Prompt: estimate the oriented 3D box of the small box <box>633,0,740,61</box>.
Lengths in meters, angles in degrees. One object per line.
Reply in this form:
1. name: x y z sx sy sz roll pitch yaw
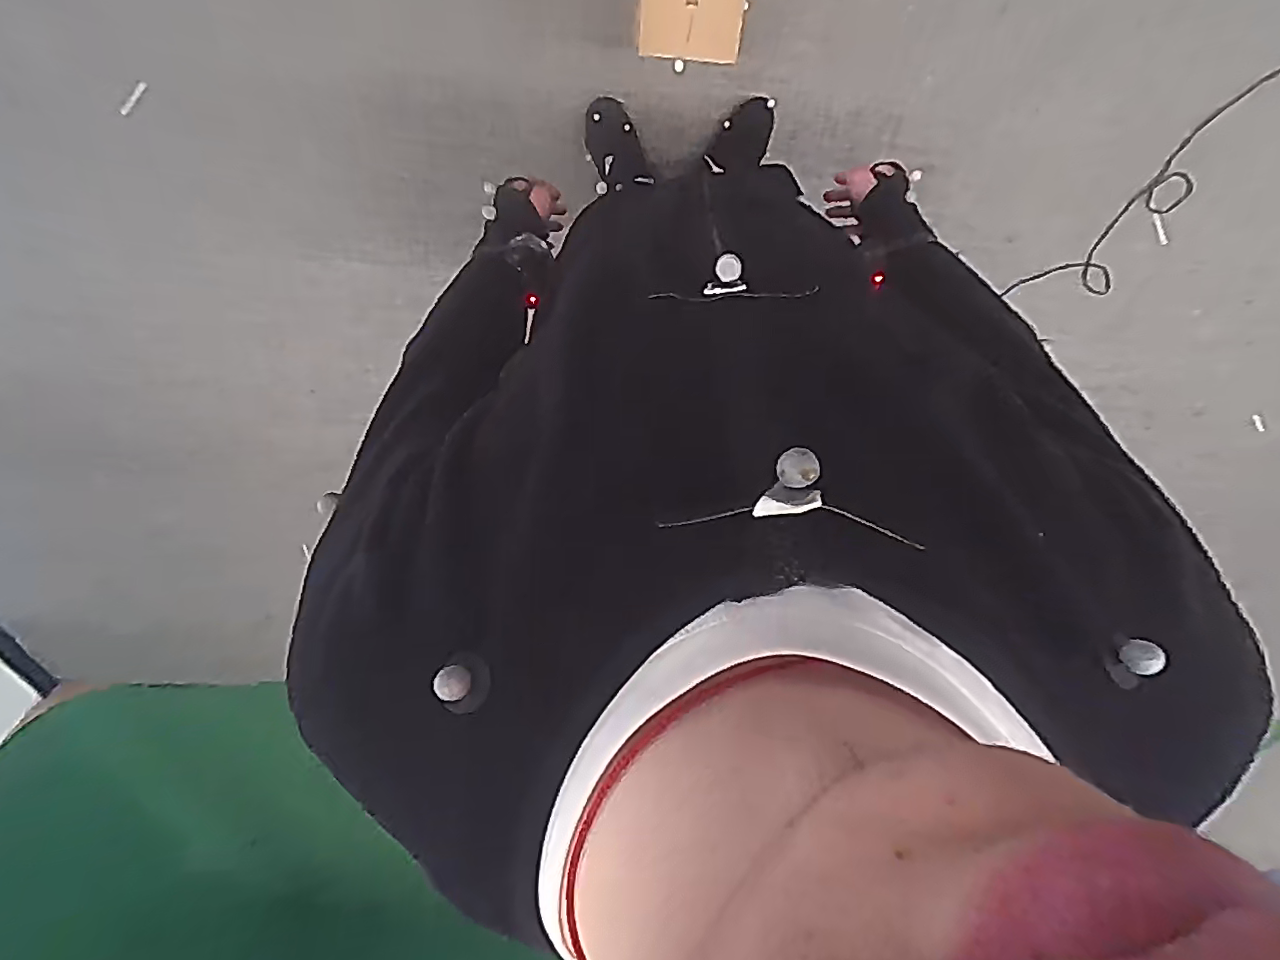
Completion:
1. small box: 0.076 -0.818 0.902 0.168 0.176 0.179 3 129 -3
